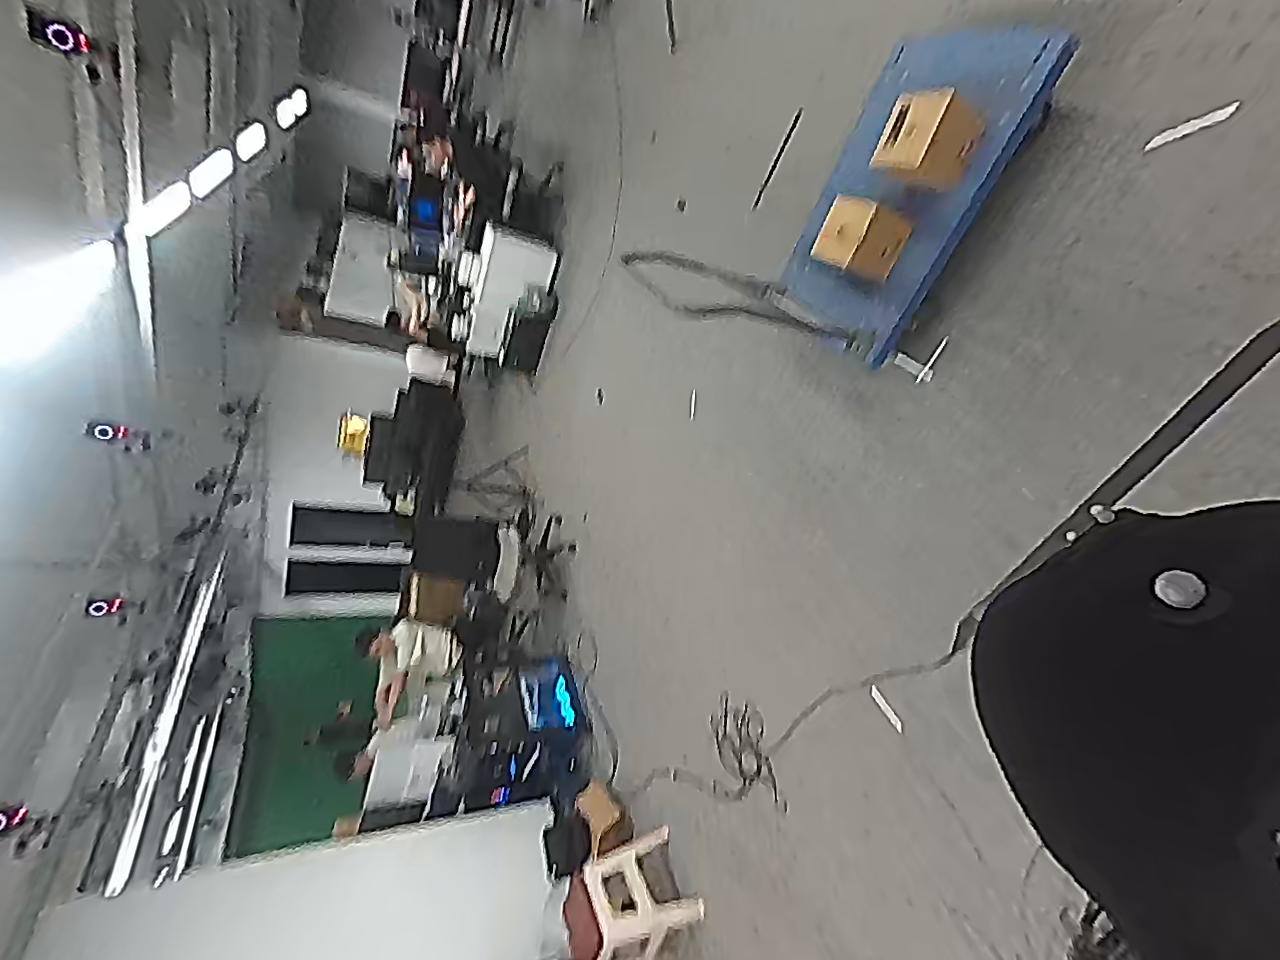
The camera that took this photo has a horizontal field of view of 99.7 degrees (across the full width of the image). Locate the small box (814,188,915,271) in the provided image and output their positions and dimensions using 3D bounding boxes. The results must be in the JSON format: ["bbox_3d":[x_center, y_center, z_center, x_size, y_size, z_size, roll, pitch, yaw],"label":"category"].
[{"bbox_3d":[0.659,-0.733,1.592,0.179,0.176,0.168,54,130,48],"label":"small box"}]
